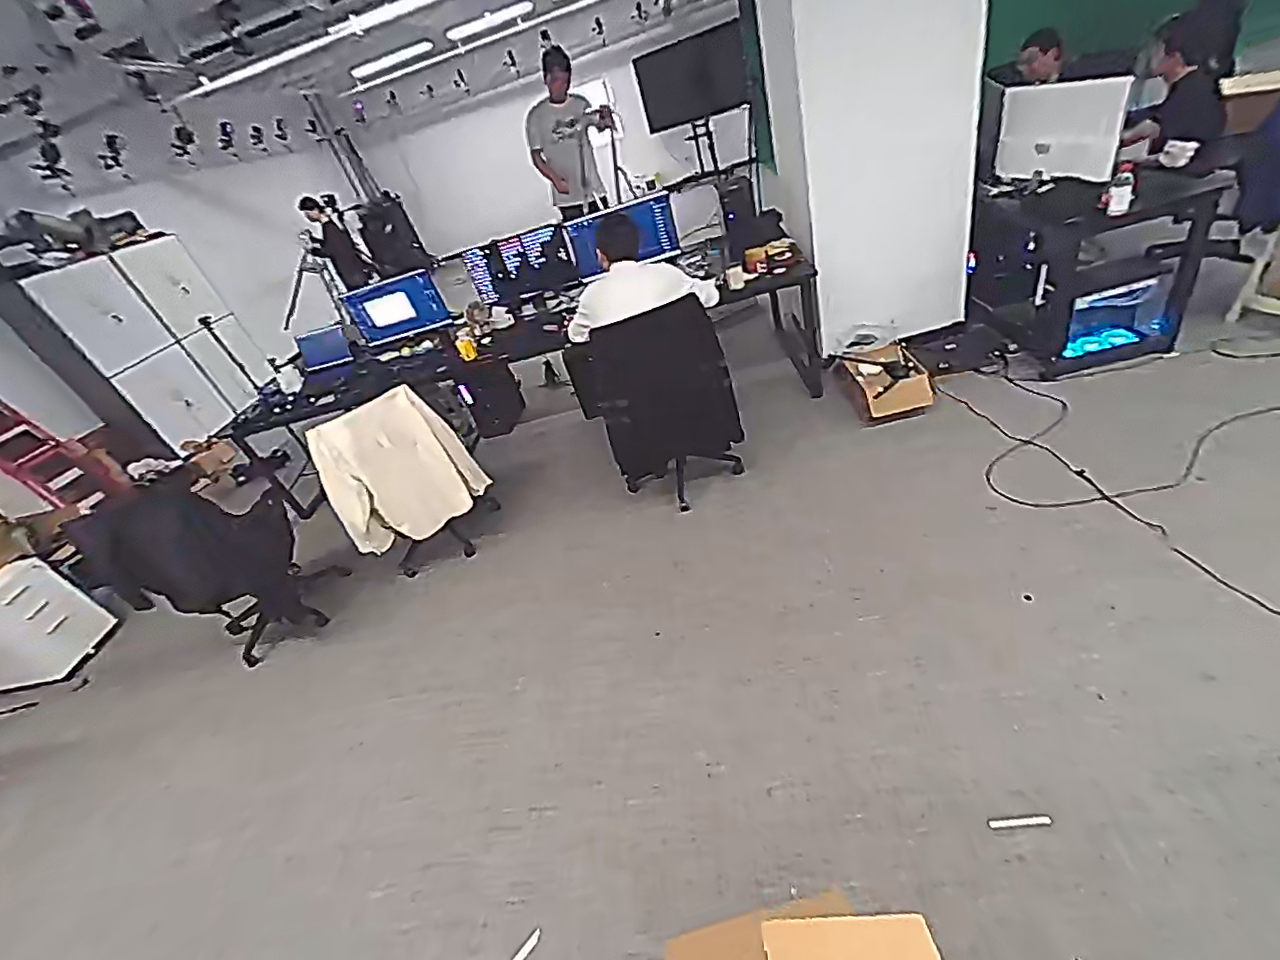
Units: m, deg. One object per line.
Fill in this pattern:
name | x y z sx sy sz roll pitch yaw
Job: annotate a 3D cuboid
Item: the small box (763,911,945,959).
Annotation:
small box | 0.225 0.568 0.526 0.179 0.176 0.168 -7 15 4
